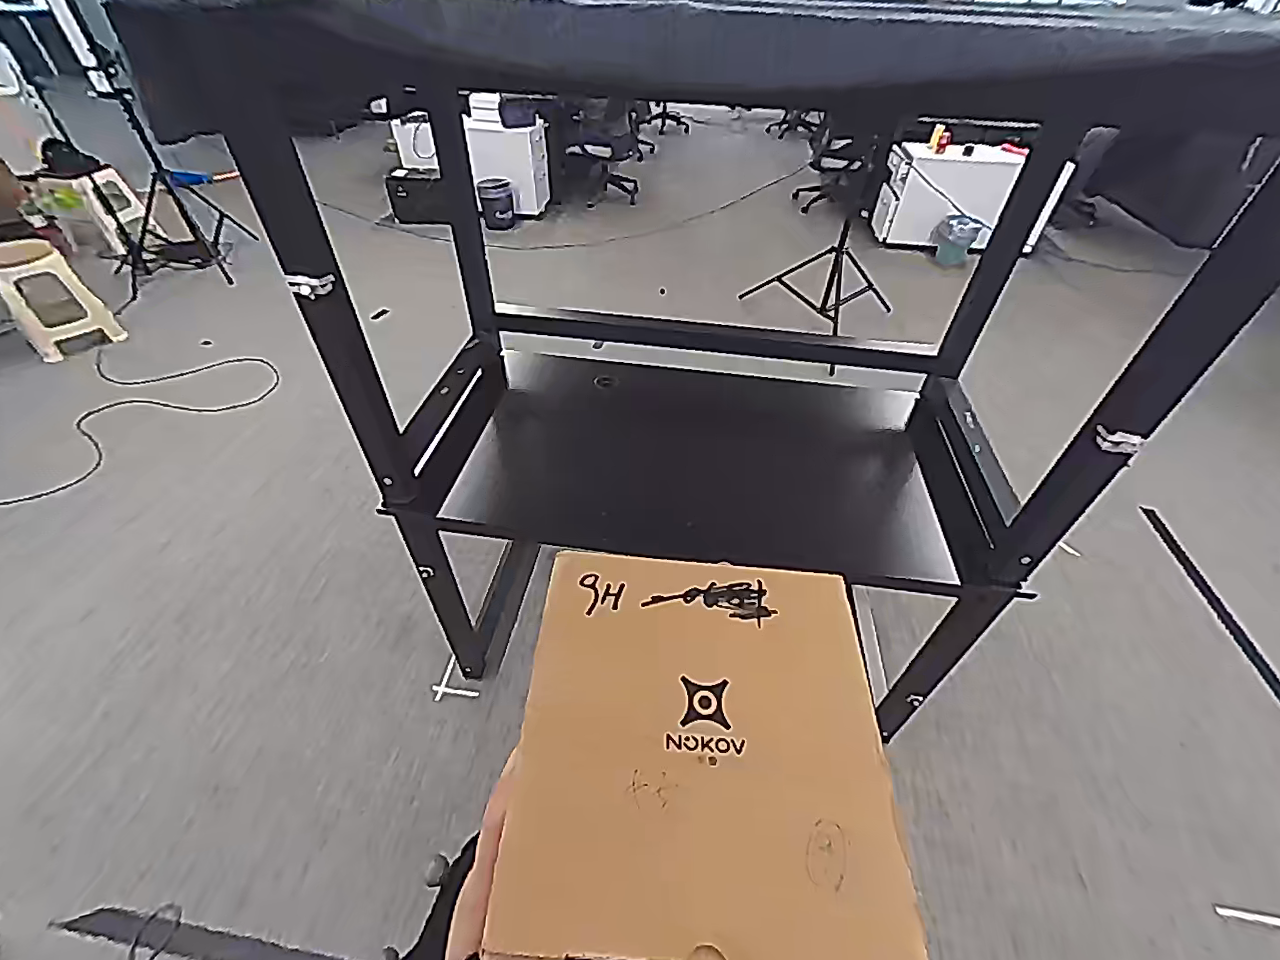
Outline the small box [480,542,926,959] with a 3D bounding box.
[{"bbox_3d":[0.023,0.159,0.306,0.168,0.176,0.179,6,49,-2],"label":"small box"}]
